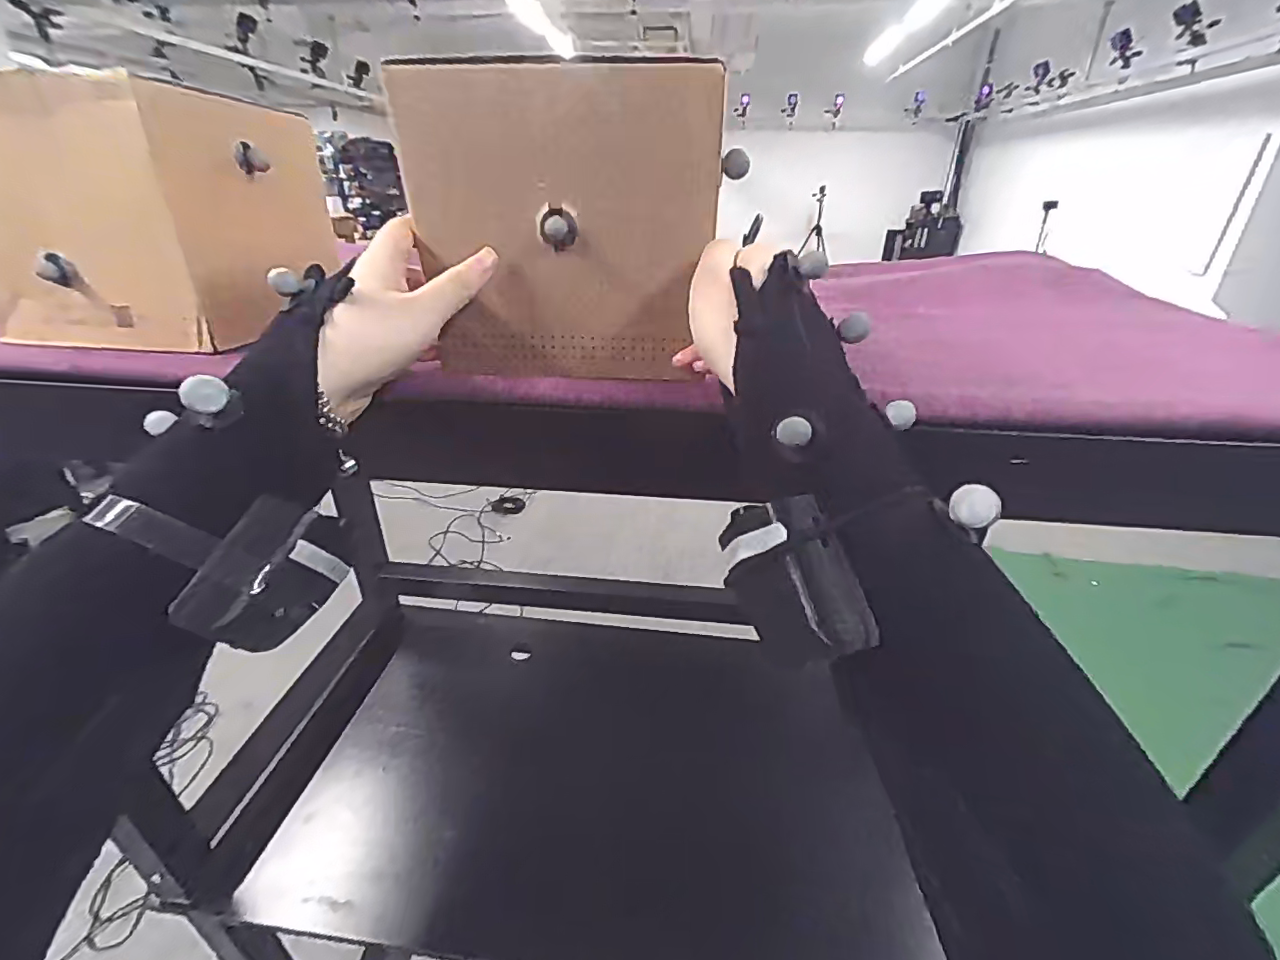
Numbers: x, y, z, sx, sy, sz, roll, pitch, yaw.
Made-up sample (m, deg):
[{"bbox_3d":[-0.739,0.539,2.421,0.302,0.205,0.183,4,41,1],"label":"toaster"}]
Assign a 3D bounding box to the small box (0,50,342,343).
[{"bbox_3d":[-0.366,-0.215,0.428,0.168,0.176,0.179,3,27,2],"label":"small box"}]
